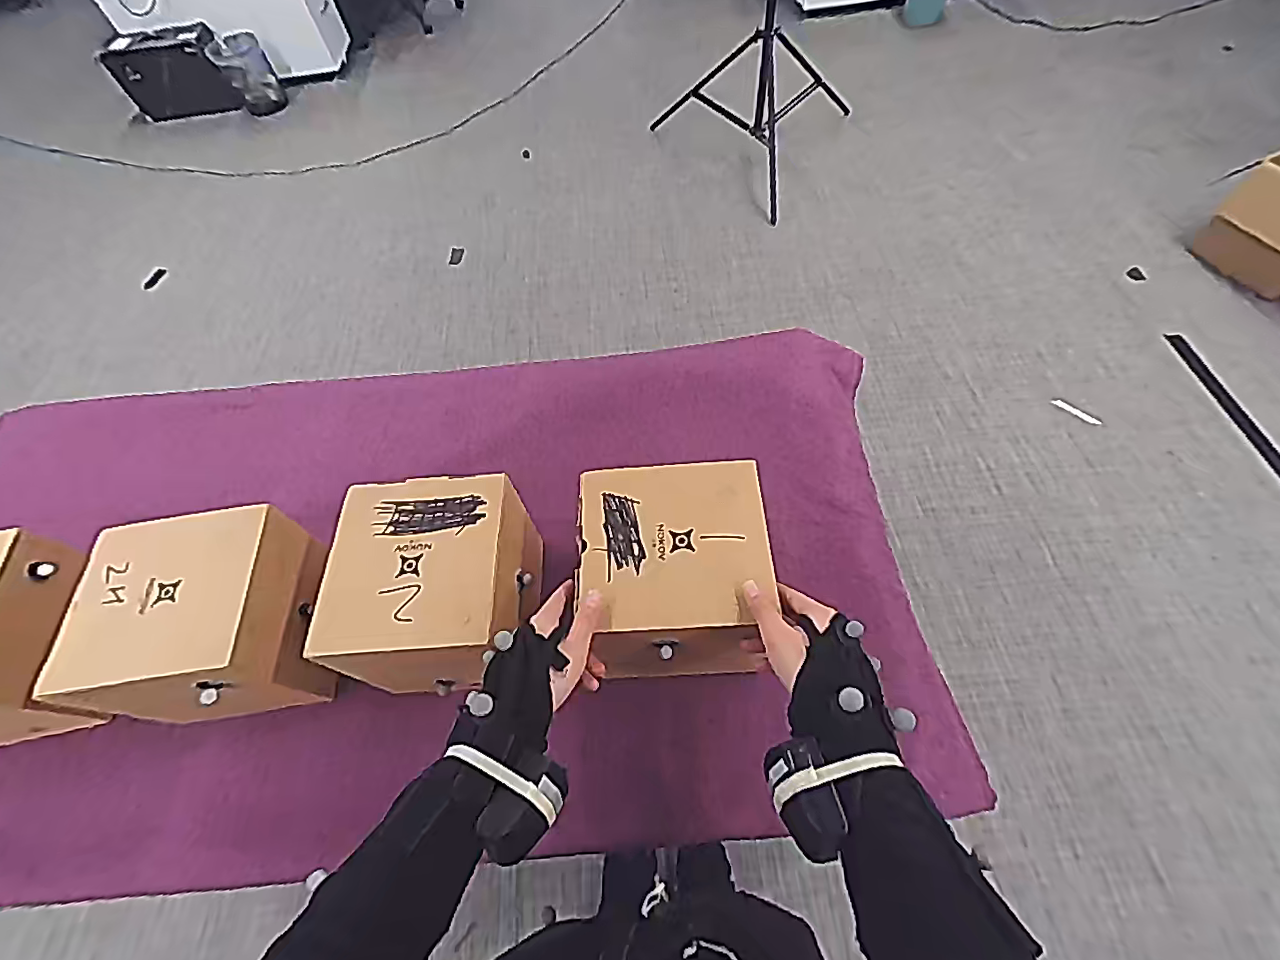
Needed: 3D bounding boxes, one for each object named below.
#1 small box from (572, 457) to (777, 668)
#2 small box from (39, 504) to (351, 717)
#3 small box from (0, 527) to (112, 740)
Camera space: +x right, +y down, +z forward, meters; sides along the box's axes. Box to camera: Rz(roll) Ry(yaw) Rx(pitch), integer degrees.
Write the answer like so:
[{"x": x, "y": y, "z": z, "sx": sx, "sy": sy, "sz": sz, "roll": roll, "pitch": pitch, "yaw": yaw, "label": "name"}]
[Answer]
[{"x": 0.034, "y": 0.093, "z": 0.563, "sx": 0.179, "sy": 0.176, "sz": 0.168, "roll": -3, "pitch": 58, "yaw": 2, "label": "small box"}, {"x": -0.442, "y": 0.146, "z": 0.579, "sx": 0.179, "sy": 0.176, "sz": 0.168, "roll": -9, "pitch": 58, "yaw": 0, "label": "small box"}, {"x": -0.697, "y": 0.177, "z": 0.587, "sx": 0.168, "sy": 0.176, "sz": 0.179, "roll": -12, "pitch": 58, "yaw": -2, "label": "small box"}]
